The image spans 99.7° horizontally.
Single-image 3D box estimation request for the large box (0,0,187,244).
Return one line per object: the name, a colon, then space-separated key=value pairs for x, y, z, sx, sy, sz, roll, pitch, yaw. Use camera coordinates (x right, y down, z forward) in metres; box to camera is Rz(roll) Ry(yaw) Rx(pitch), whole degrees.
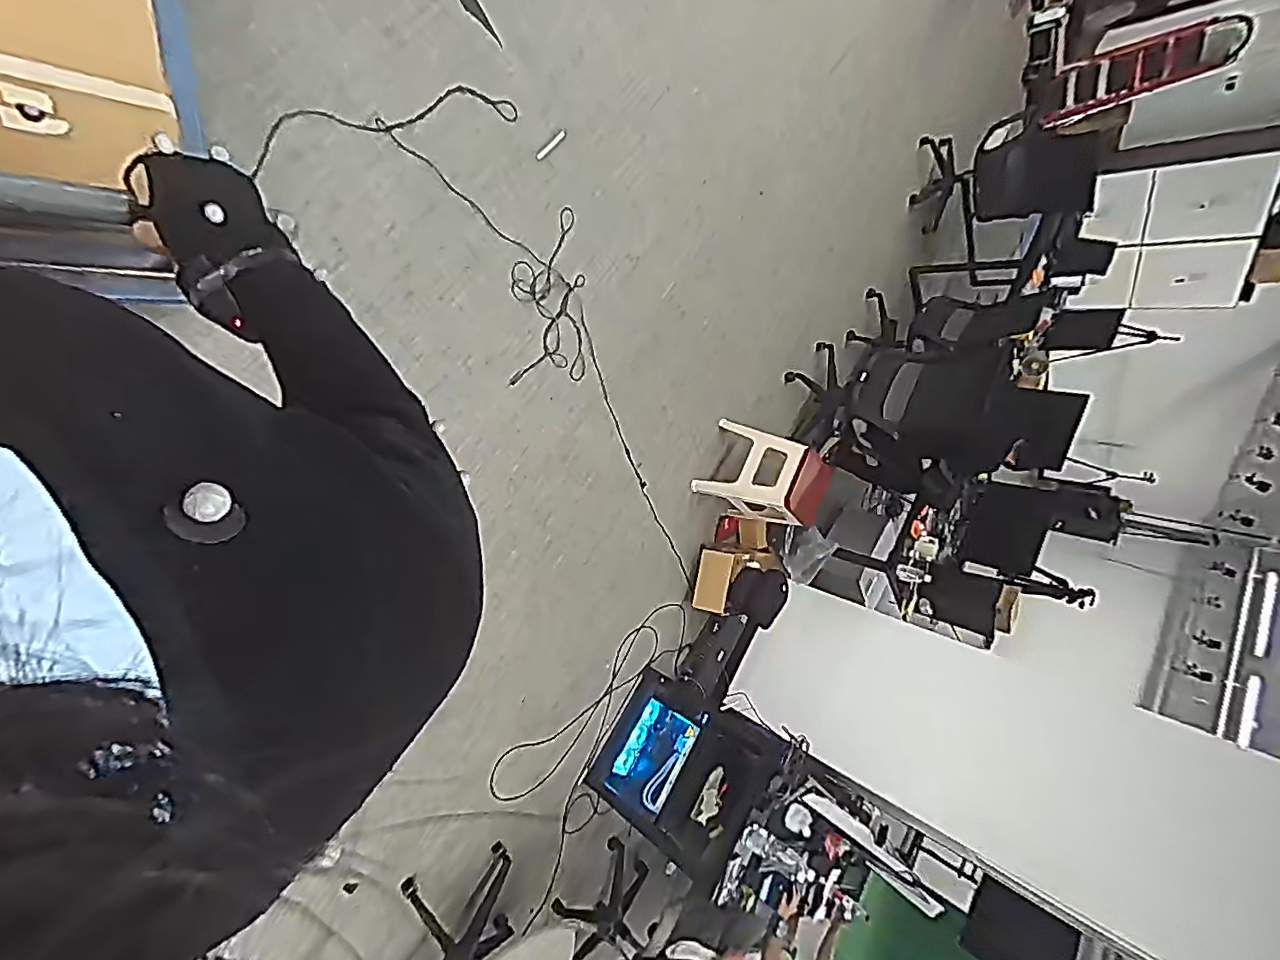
large box: x=-0.891 y=-0.505 z=0.693 sx=0.408 sy=0.320 sz=0.320 roll=-14 pitch=112 yaw=-46
